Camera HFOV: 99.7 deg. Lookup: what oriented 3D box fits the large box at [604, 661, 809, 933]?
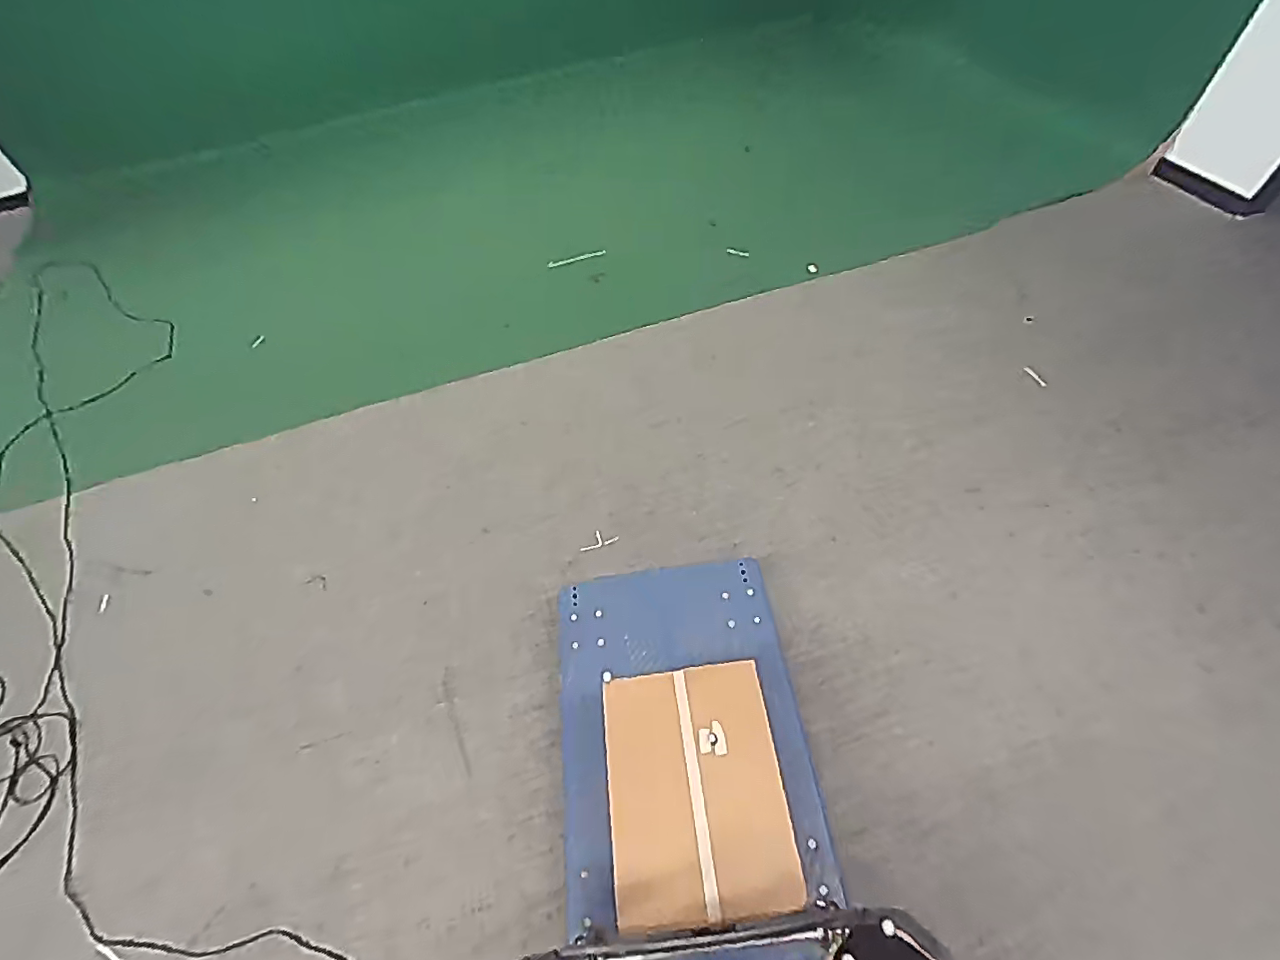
[{"bbox_3d":[0.116,0.634,1.100,0.320,0.320,0.408,-8,54,1],"label":"large box"}]
